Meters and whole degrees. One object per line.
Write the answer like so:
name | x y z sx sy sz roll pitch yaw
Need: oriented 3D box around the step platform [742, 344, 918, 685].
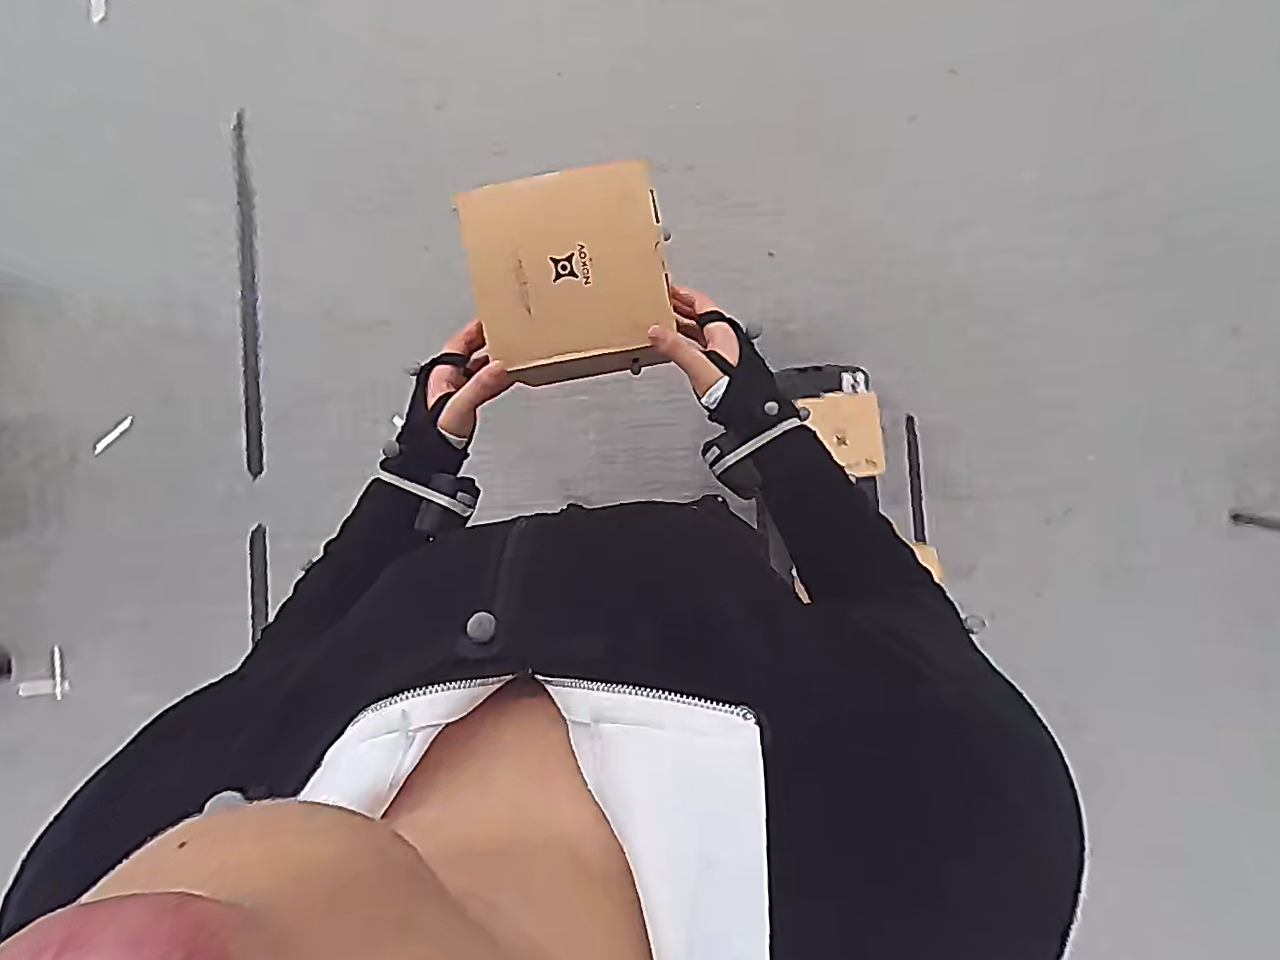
step platform | 0.394 0.068 1.174 0.286 0.204 0.684 -4 90 2

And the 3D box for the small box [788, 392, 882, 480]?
small box | 0.418 -0.093 1.210 0.168 0.176 0.179 -6 89 2

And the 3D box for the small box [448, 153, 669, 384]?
small box | -0.072 -0.203 0.569 0.179 0.176 0.168 -12 94 3
